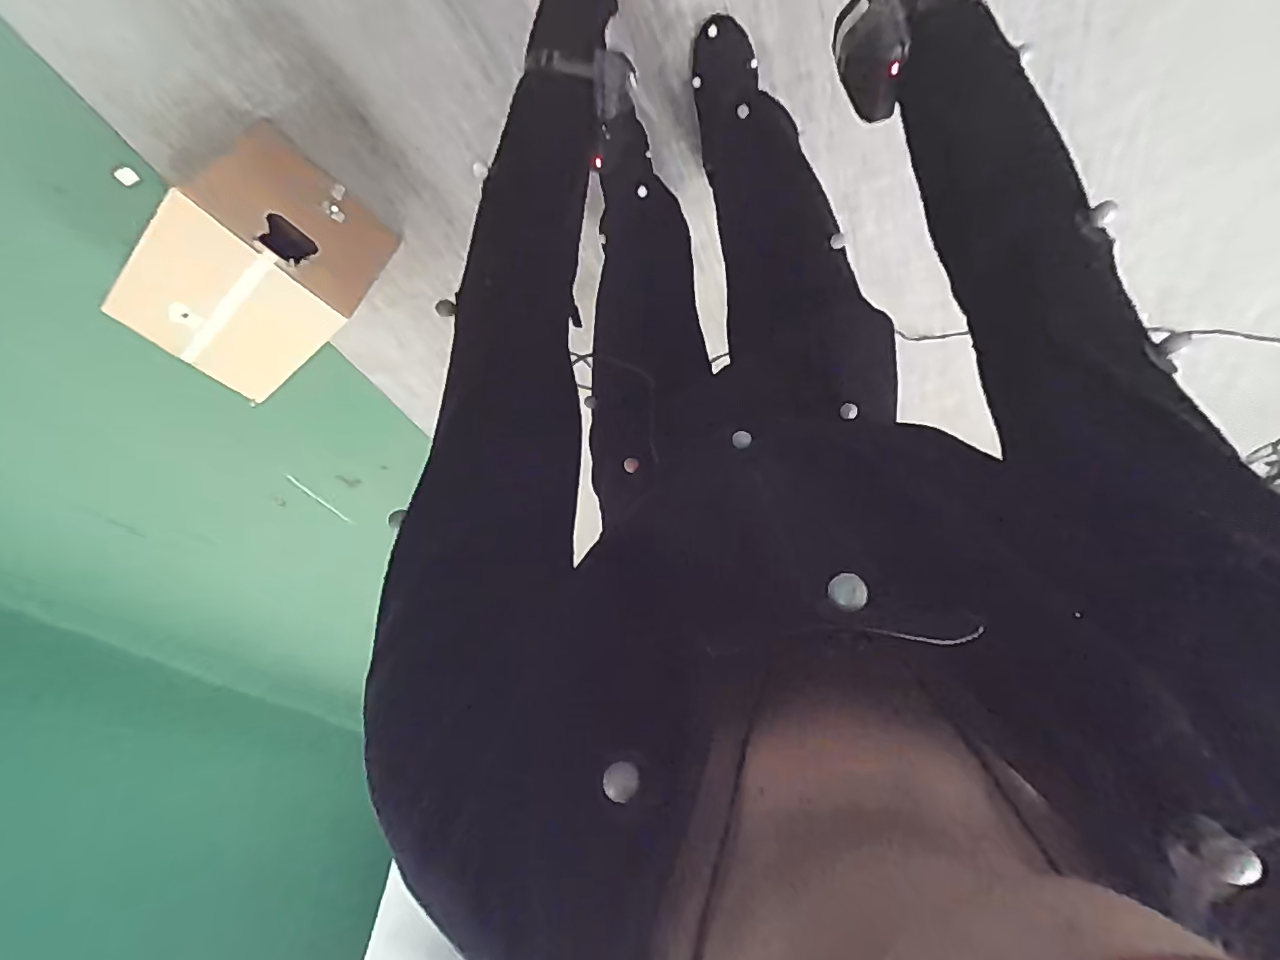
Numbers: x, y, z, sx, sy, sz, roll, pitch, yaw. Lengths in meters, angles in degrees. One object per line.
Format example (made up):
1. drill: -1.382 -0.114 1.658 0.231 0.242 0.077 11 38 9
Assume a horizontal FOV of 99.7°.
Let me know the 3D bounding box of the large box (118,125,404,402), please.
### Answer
1. large box: -0.788 -0.444 1.159 0.408 0.320 0.320 -23 132 31
